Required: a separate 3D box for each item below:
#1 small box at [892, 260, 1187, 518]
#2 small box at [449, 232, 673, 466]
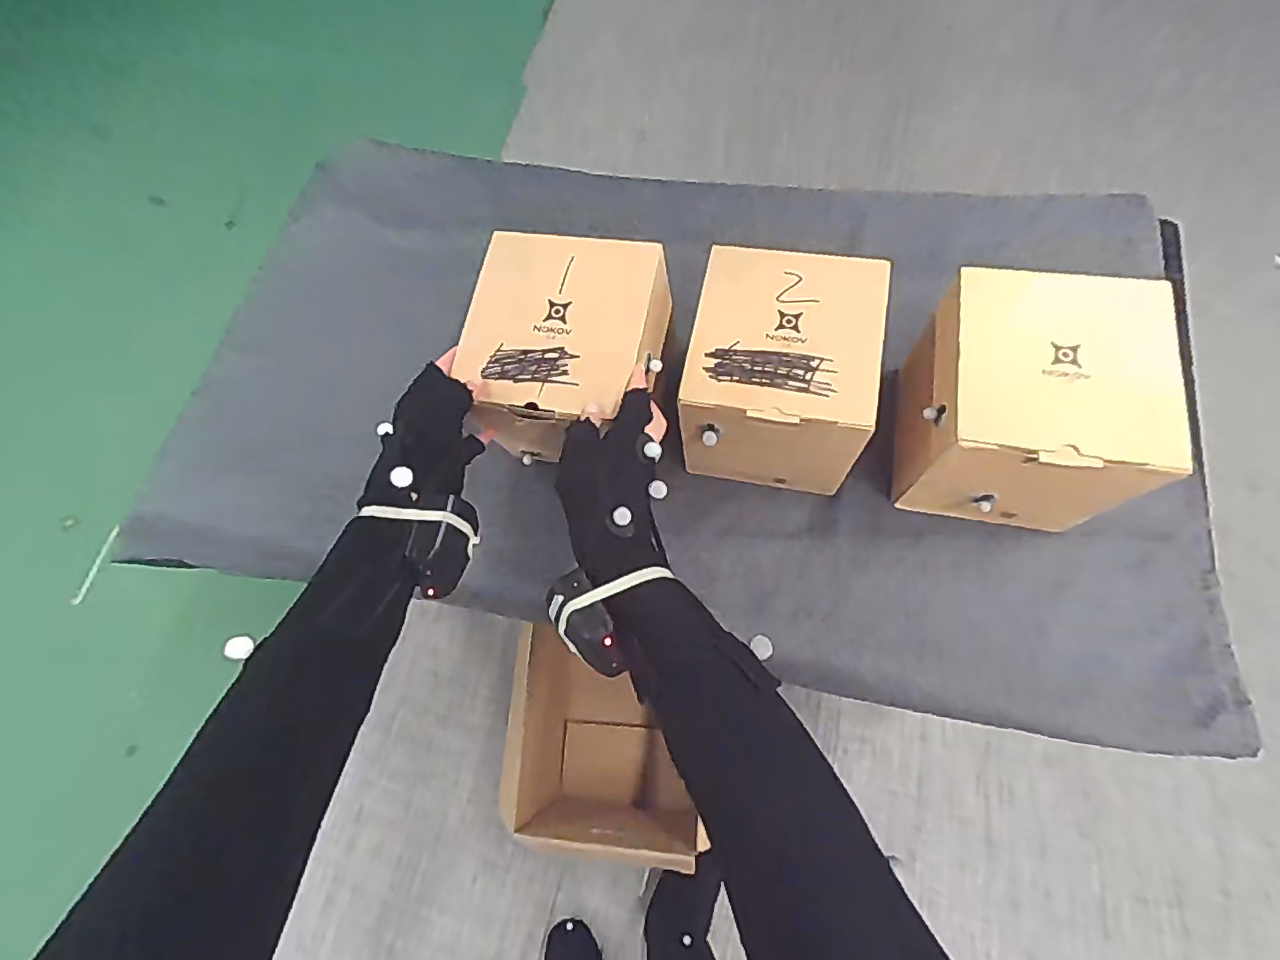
[{"bbox_3d":[0.354,-0.078,0.518,0.168,0.176,0.179,8,72,10],"label":"small box"},{"bbox_3d":[-0.064,-0.123,0.558,0.168,0.176,0.179,8,77,11],"label":"small box"}]
